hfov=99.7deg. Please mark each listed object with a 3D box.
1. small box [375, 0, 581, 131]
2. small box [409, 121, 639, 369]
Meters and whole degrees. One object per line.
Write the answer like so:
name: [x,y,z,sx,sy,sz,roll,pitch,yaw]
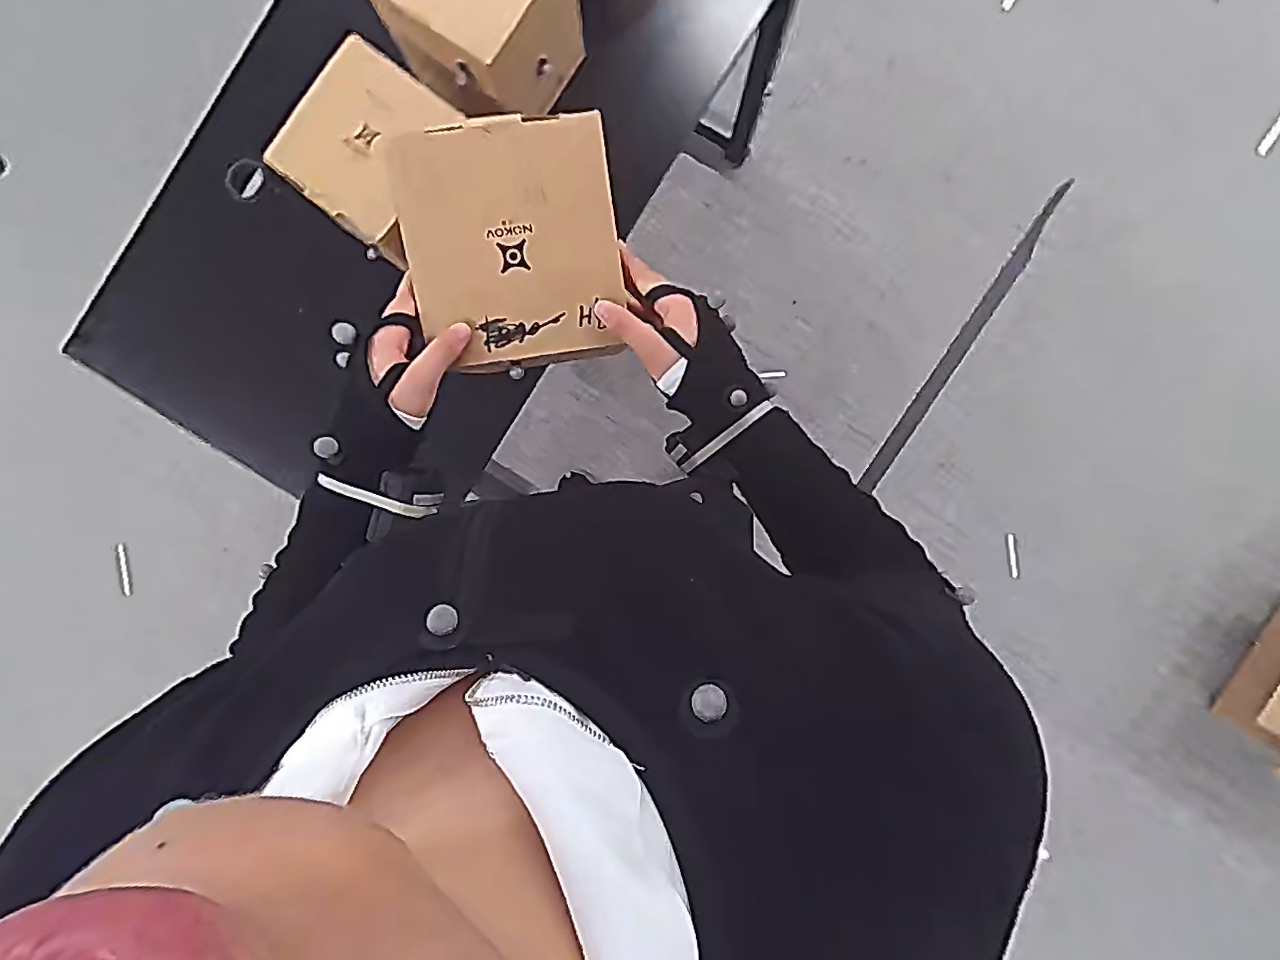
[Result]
small box: [-0.194,-0.581,0.699,0.179,0.176,0.168,34,91,1]
small box: [-0.095,-0.203,0.513,0.168,0.176,0.179,-7,102,-2]
